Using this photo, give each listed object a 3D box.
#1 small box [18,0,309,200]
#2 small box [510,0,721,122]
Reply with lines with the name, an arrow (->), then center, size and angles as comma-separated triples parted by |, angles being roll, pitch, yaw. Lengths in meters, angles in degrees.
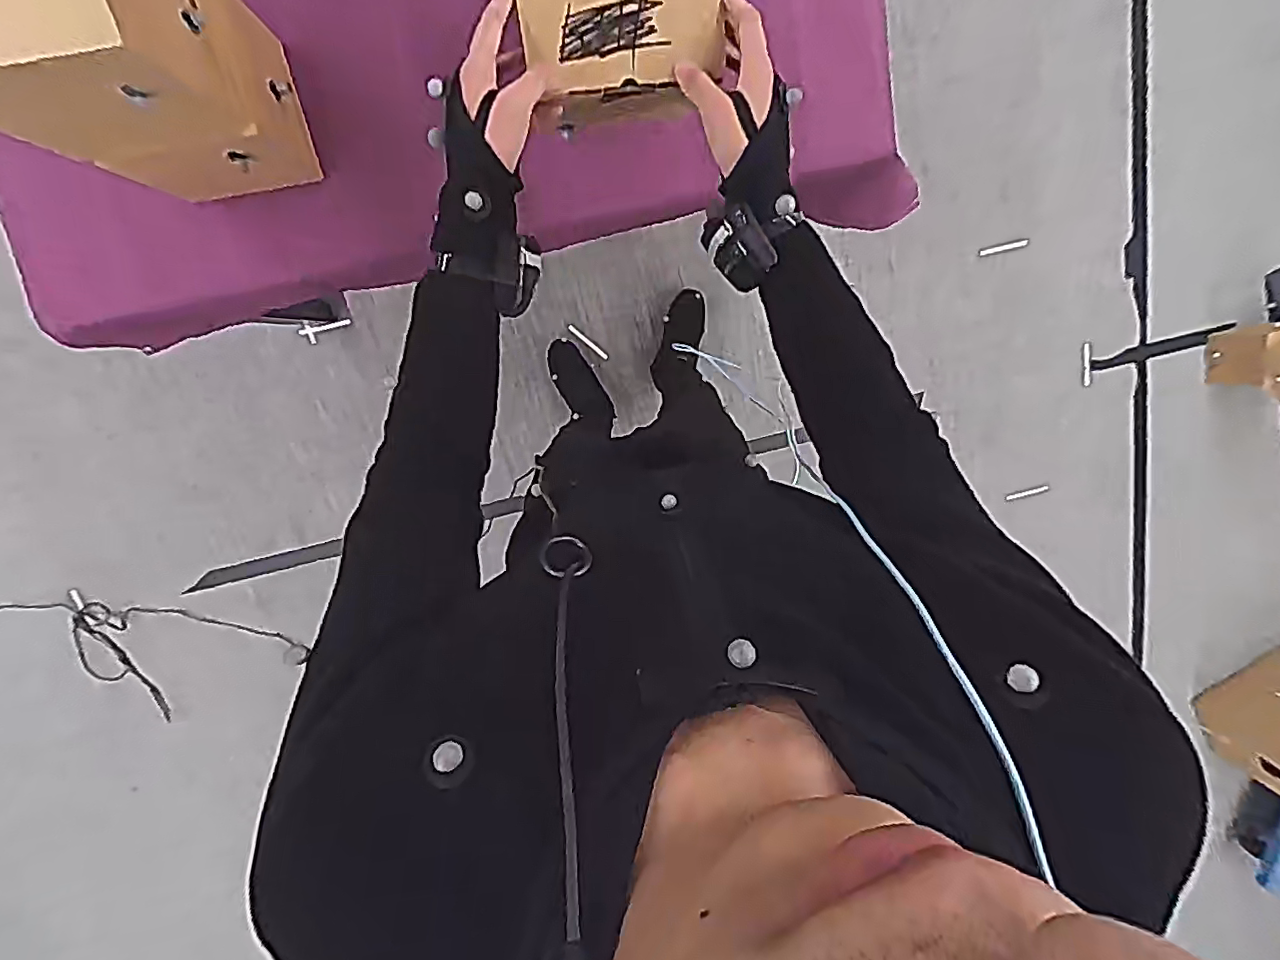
small box -> -0.518, -0.443, 0.625 | 0.179, 0.176, 0.168 | -12, 105, -4
small box -> -0.030, -0.432, 0.477 | 0.168, 0.176, 0.179 | -9, 115, -5
